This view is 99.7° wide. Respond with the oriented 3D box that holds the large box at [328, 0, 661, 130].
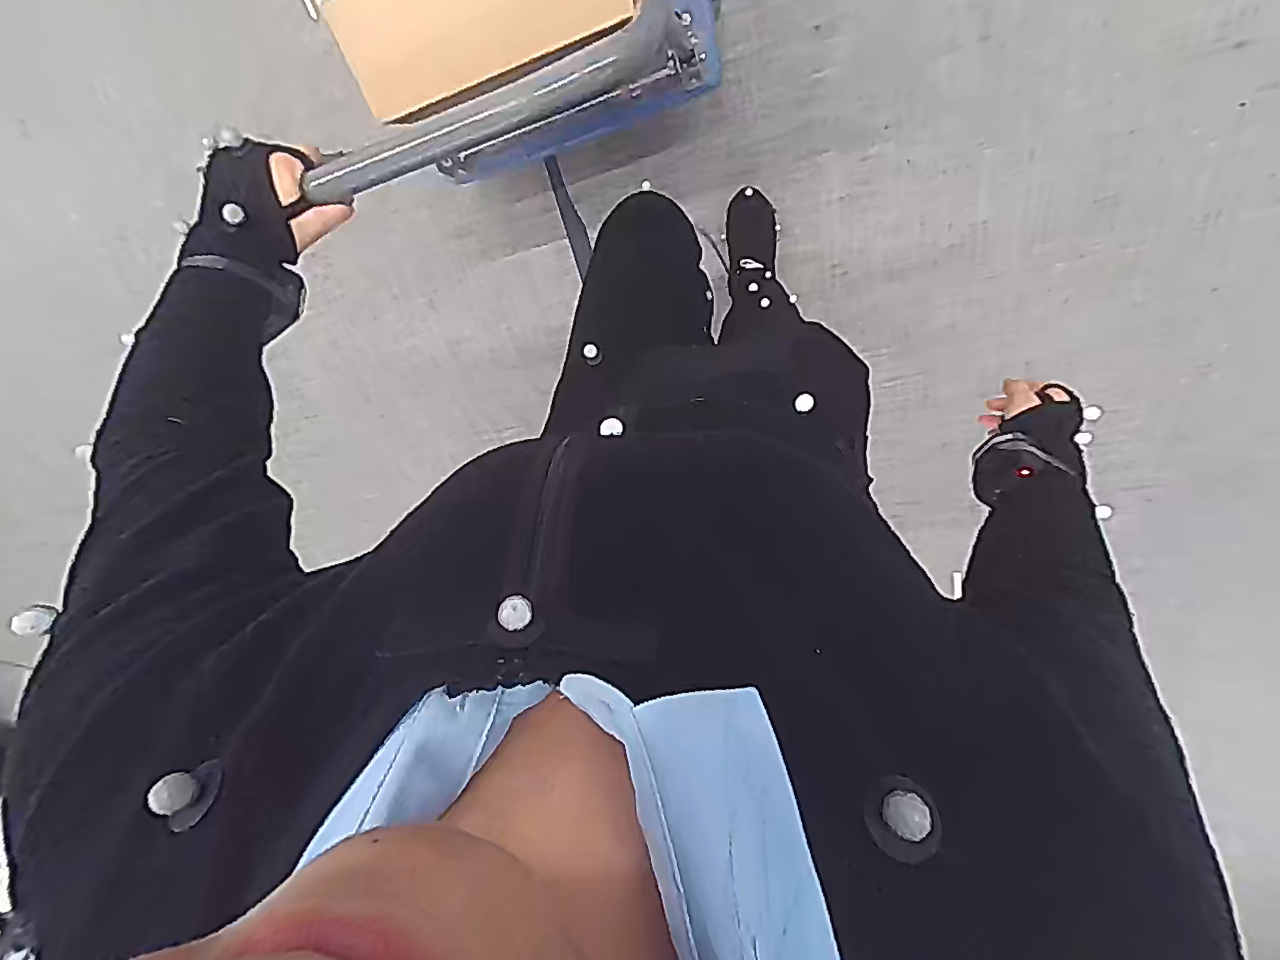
[{"bbox_3d":[-0.213,-0.756,0.795,0.408,0.320,0.320,-10,121,16],"label":"large box"}]
